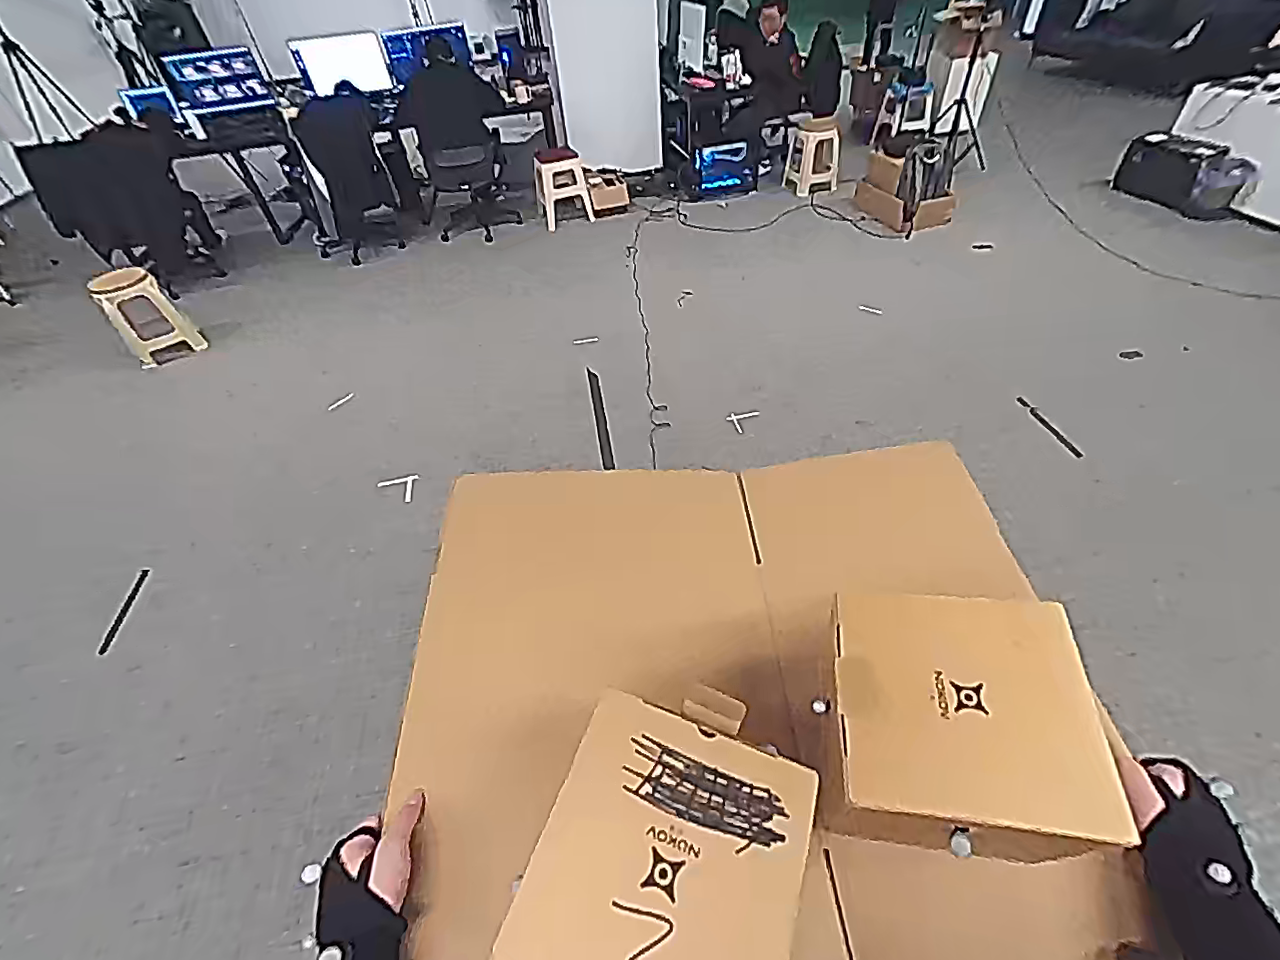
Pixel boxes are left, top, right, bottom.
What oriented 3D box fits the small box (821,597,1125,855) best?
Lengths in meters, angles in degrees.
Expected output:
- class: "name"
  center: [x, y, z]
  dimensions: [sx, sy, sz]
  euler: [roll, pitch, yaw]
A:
- class: "small box"
  center: [0.260, 0.219, 0.480]
  dimensions: [0.179, 0.176, 0.168]
  euler: [0, 52, 14]
